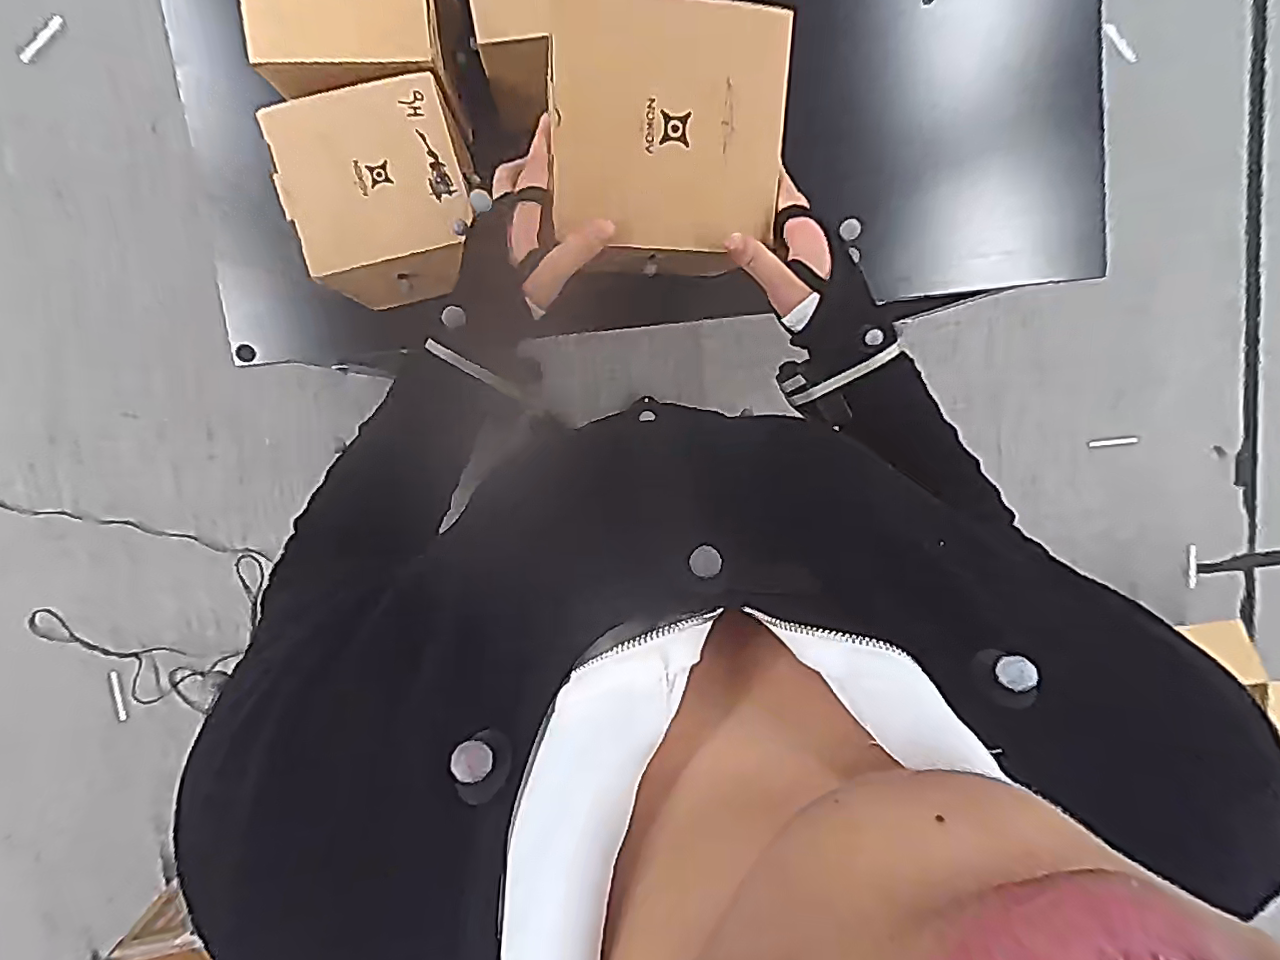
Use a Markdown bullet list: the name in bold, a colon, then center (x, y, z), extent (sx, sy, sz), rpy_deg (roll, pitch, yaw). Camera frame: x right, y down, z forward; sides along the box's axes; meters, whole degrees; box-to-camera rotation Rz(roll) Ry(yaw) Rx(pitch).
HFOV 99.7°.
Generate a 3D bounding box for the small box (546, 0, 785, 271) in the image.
- **small box**: center (0.008, -0.285, 0.483), extent (0.179, 0.176, 0.168), rpy_deg (-1, 105, -10)
